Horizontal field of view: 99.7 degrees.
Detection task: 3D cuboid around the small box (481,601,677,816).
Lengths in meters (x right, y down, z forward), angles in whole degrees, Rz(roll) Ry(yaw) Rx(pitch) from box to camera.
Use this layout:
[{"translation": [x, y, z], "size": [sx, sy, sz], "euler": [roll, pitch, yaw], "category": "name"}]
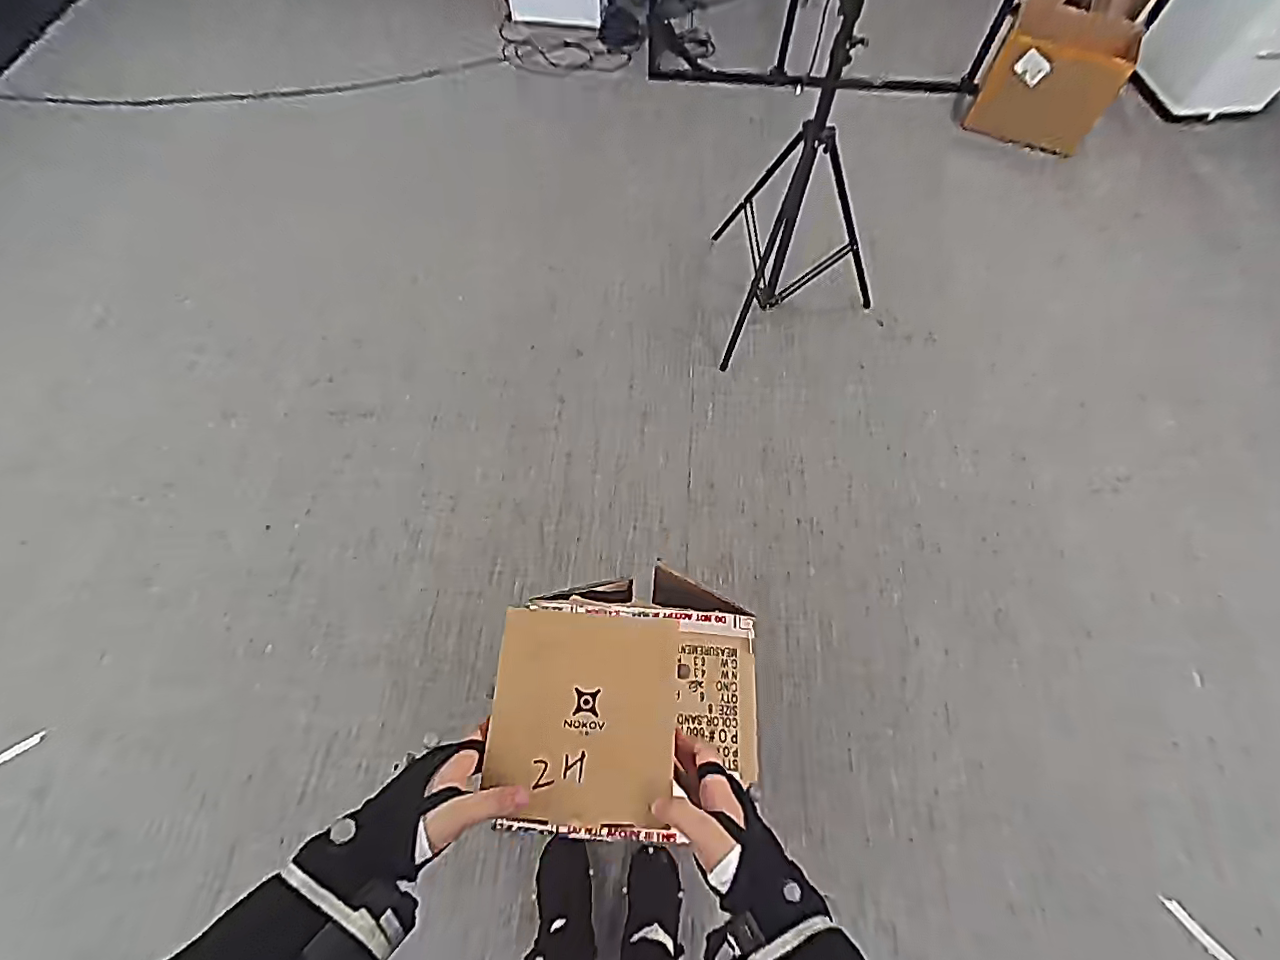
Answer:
[{"translation": [-0.056, 0.234, 0.570], "size": [0.168, 0.176, 0.179], "euler": [5, 69, -2], "category": "small box"}]
